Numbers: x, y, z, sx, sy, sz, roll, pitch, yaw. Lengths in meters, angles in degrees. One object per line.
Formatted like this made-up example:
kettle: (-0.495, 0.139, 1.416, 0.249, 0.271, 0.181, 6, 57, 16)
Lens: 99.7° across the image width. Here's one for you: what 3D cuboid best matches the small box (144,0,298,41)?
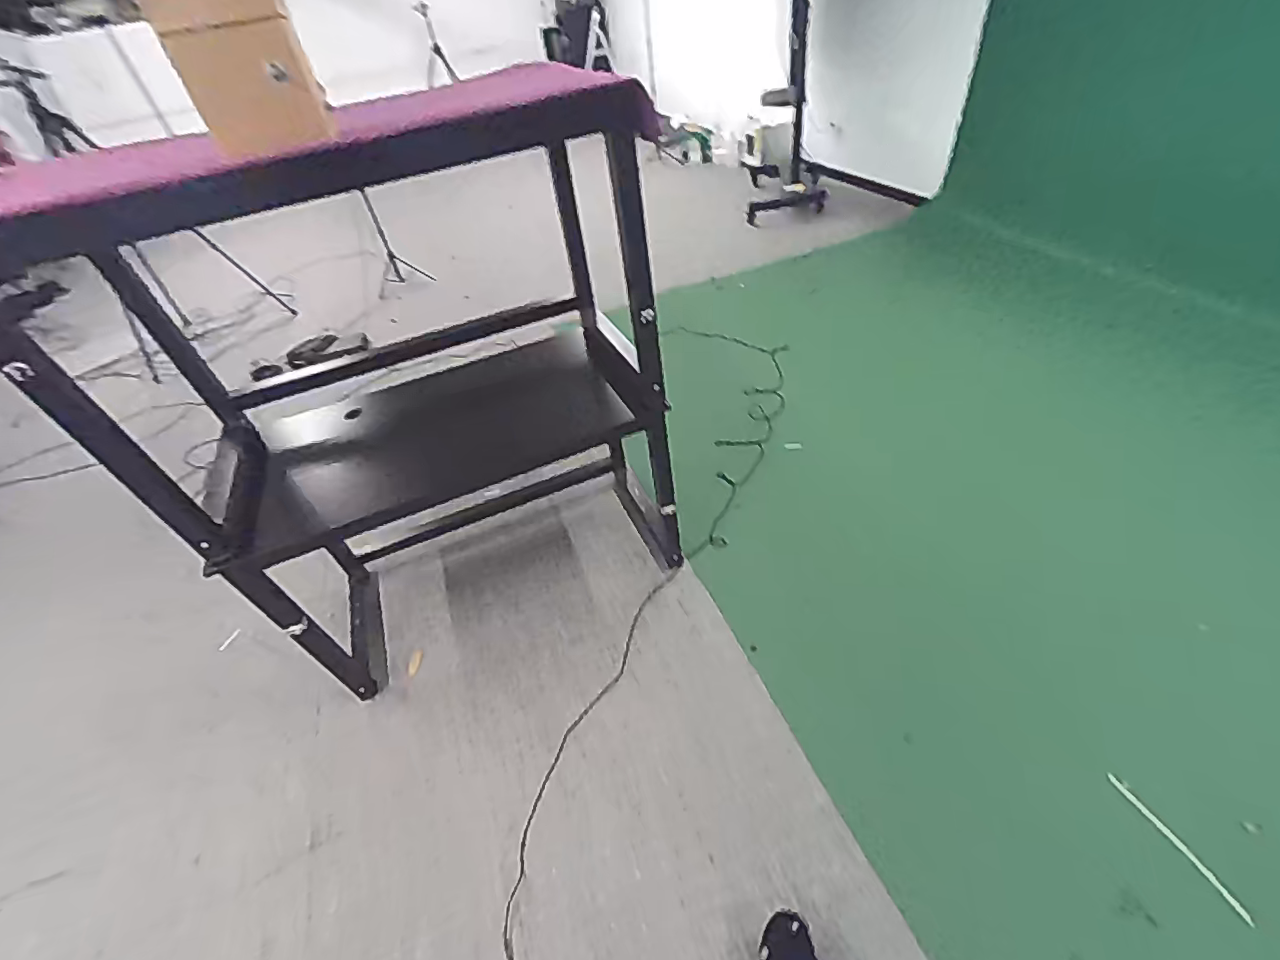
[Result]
small box: (-0.656, -0.778, 0.809, 0.179, 0.176, 0.168, -20, 44, -10)
